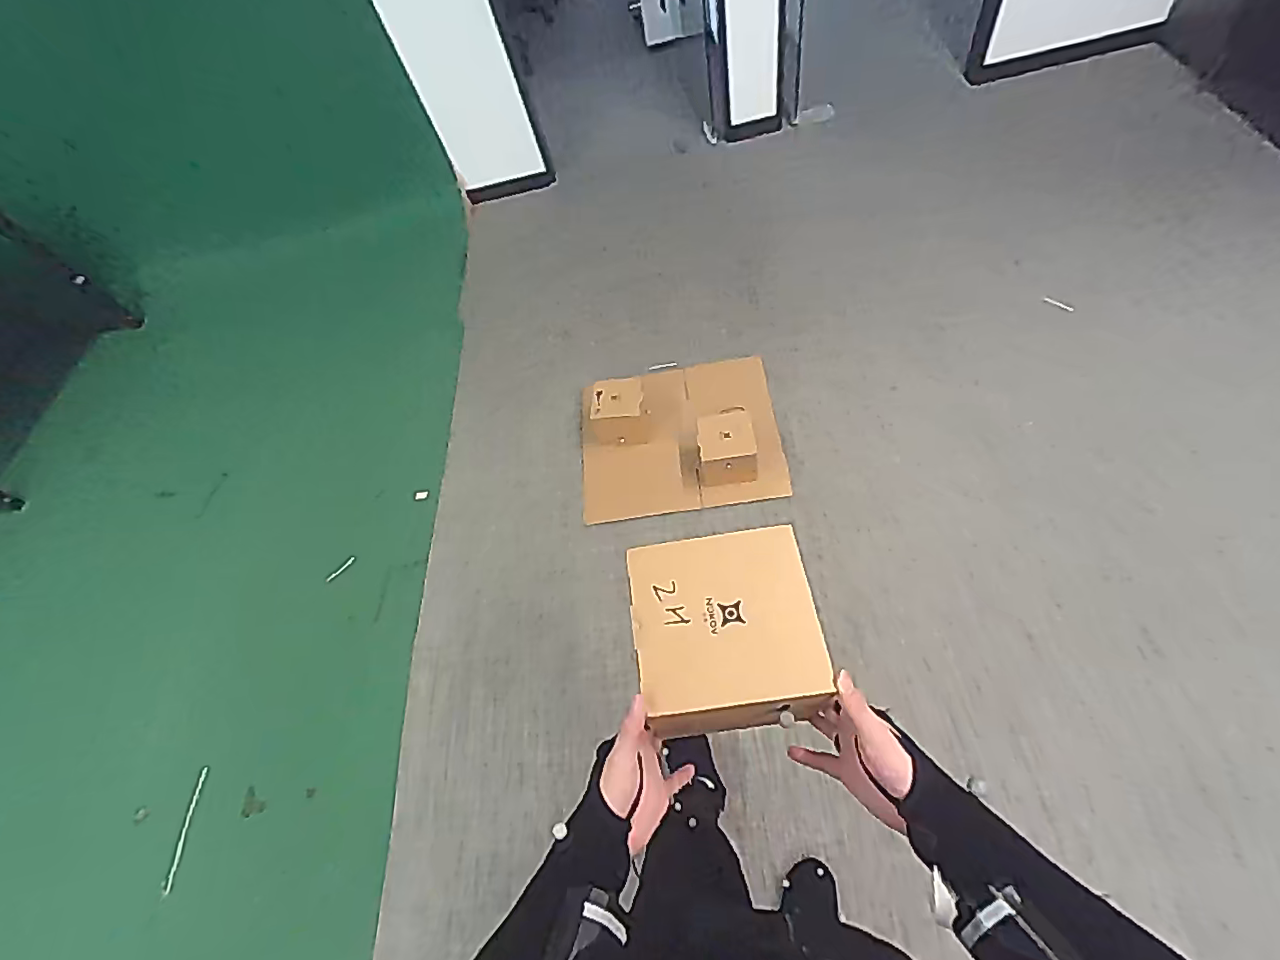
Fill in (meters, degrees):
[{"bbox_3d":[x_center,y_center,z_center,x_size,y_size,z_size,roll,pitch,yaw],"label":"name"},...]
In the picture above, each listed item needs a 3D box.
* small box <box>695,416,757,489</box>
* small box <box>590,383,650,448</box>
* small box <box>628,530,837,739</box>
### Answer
[{"bbox_3d":[0.282,-0.083,1.758,0.179,0.176,0.168,-8,59,8],"label":"small box"},{"bbox_3d":[-0.064,-0.223,1.915,0.179,0.176,0.168,-1,59,12],"label":"small box"},{"bbox_3d":[0.089,0.172,0.582,0.179,0.176,0.168,-9,57,3],"label":"small box"}]
